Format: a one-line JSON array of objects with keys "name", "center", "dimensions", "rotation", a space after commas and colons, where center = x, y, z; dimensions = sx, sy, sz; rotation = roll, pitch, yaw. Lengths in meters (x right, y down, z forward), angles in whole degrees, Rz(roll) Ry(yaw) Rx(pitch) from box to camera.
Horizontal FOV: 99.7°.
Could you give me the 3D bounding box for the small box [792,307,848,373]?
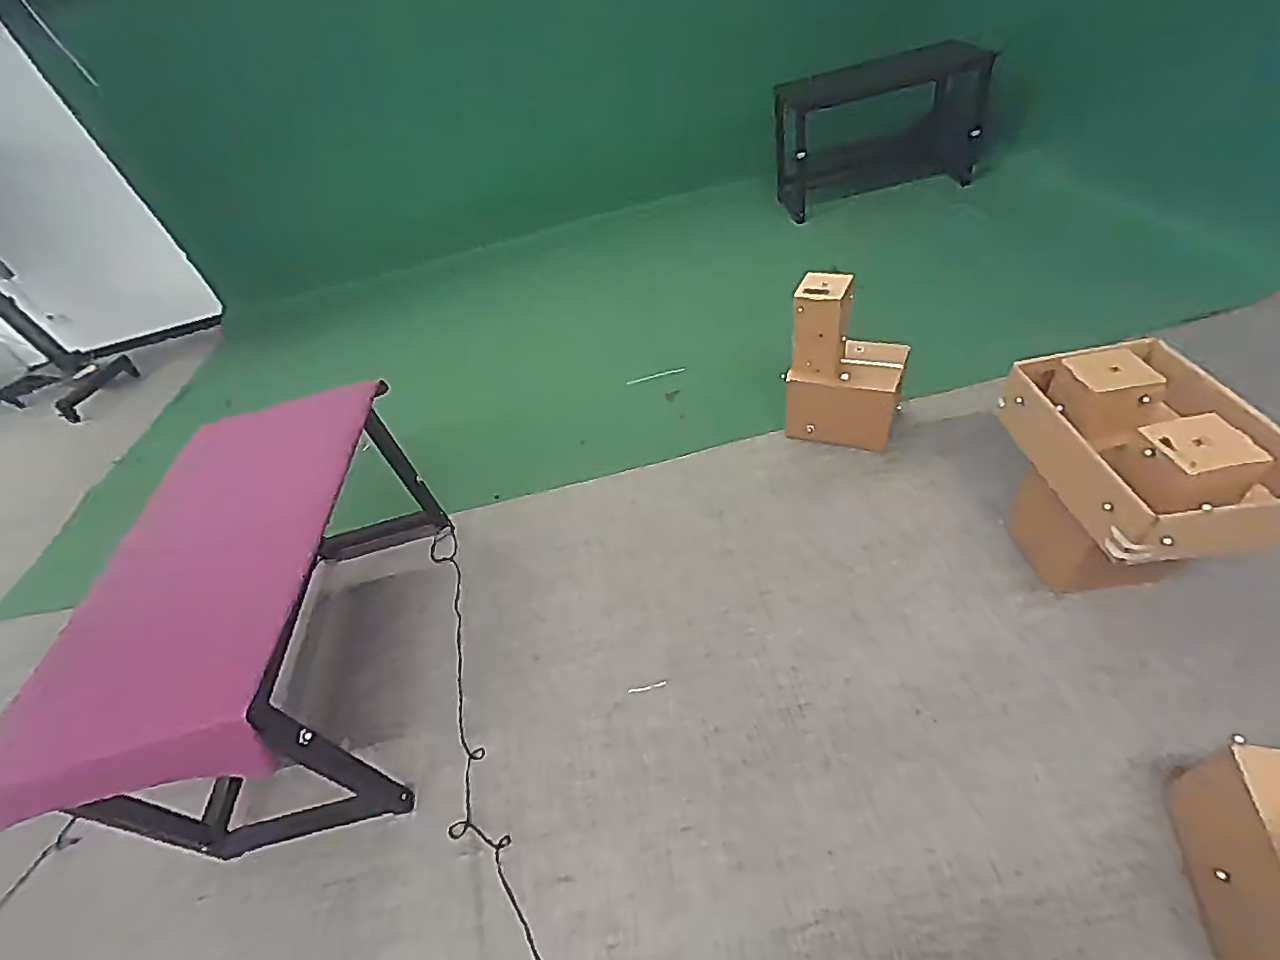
[{"name": "small box", "center": [0.695, -0.543, 2.100], "dimensions": [0.168, 0.176, 0.179], "rotation": [16, 54, 26]}]
